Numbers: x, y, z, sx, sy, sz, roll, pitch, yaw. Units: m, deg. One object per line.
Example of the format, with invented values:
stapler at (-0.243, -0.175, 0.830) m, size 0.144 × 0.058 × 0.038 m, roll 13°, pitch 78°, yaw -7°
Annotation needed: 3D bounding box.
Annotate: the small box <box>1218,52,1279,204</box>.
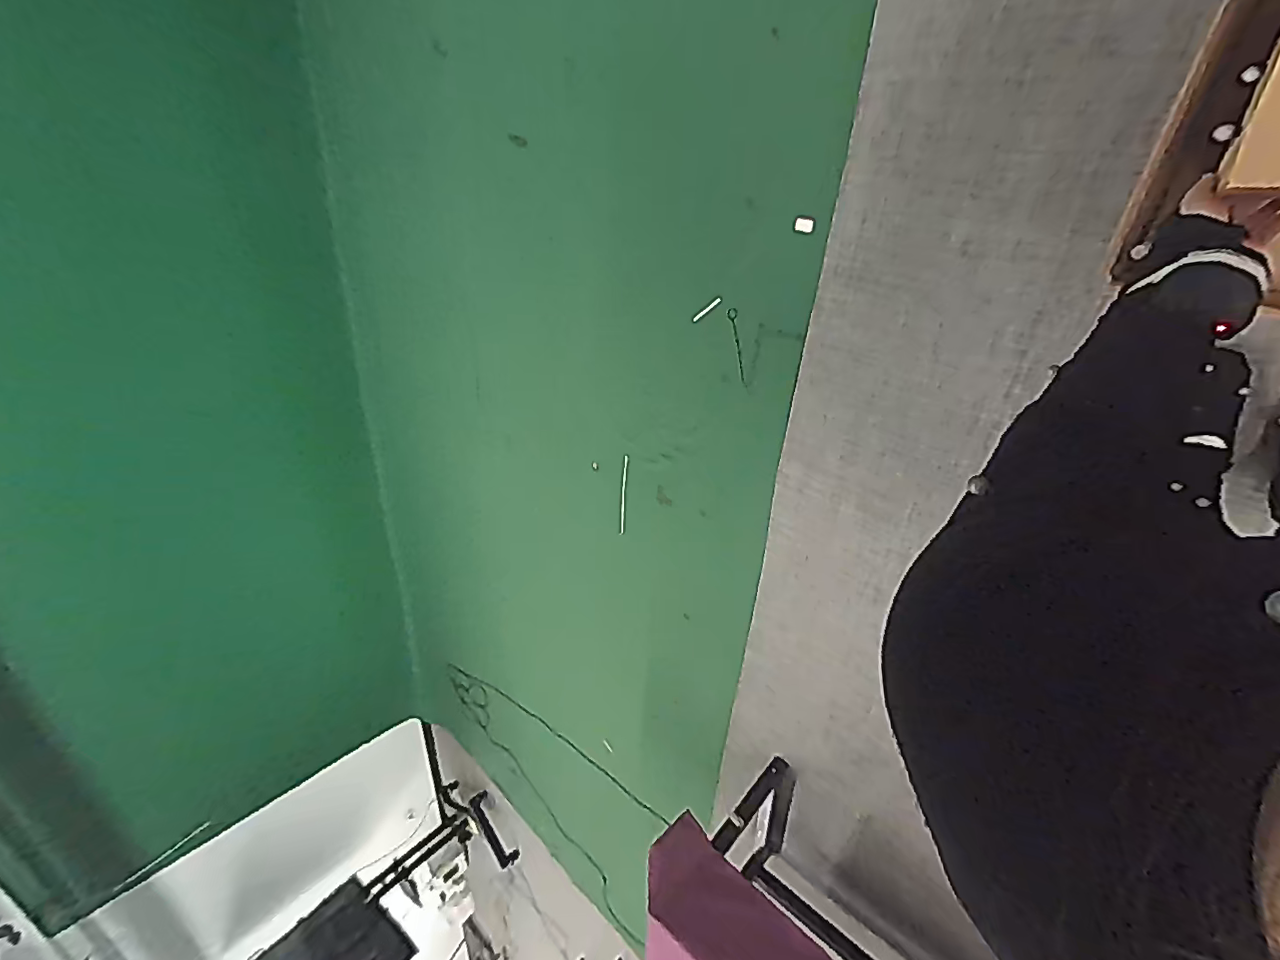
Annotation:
small box at (0.545, -0.285, 0.366) m, size 0.168 × 0.176 × 0.179 m, roll 23°, pitch 123°, yaw 37°
